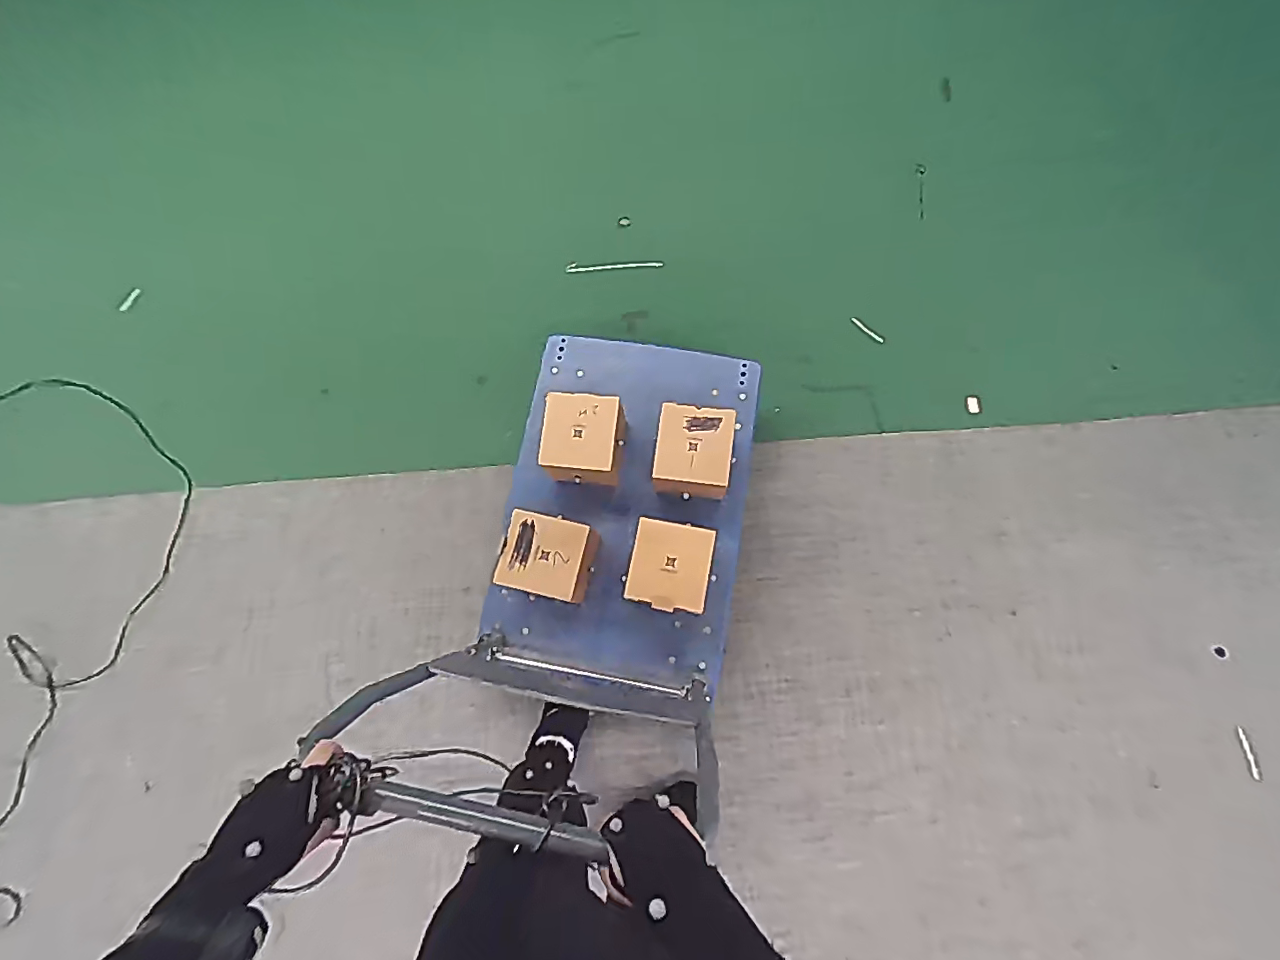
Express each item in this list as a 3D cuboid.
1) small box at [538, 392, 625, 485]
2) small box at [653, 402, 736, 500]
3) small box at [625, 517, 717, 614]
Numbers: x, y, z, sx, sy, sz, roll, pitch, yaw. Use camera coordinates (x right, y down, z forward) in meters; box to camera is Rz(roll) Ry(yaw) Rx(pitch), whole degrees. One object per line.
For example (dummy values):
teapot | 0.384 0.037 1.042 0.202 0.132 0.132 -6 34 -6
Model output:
small box | -0.130 -0.090 1.277 0.168 0.176 0.179 5 78 5
small box | 0.124 -0.062 1.250 0.168 0.176 0.179 7 79 7
small box | 0.070 0.192 1.199 0.168 0.176 0.179 10 79 7
